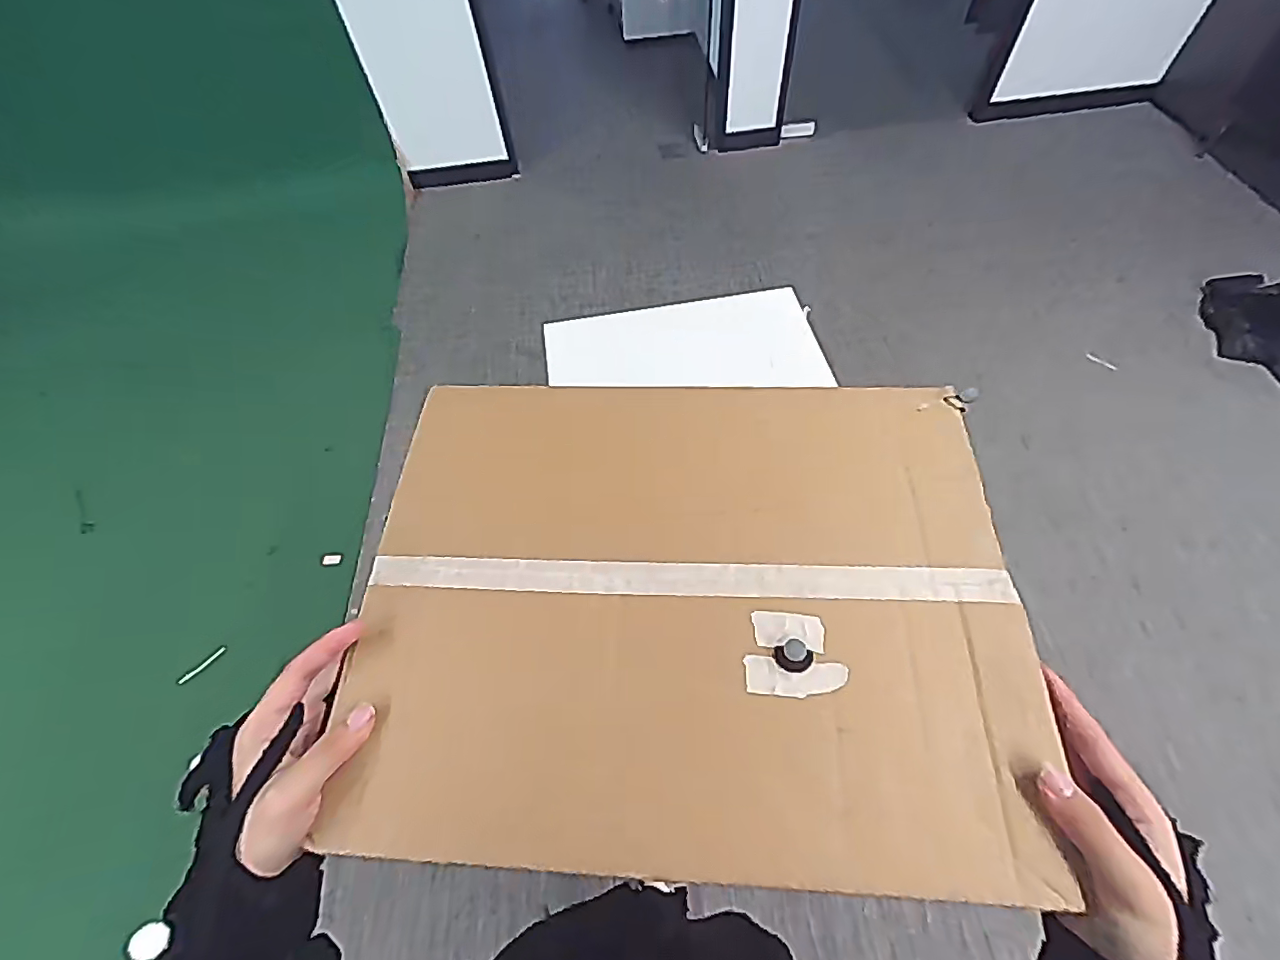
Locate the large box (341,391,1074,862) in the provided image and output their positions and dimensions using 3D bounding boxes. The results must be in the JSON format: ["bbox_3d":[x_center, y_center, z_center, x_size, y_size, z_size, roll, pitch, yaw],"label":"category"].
[{"bbox_3d":[0.039,0.135,0.491,0.408,0.320,0.320,1,61,4],"label":"large box"}]
